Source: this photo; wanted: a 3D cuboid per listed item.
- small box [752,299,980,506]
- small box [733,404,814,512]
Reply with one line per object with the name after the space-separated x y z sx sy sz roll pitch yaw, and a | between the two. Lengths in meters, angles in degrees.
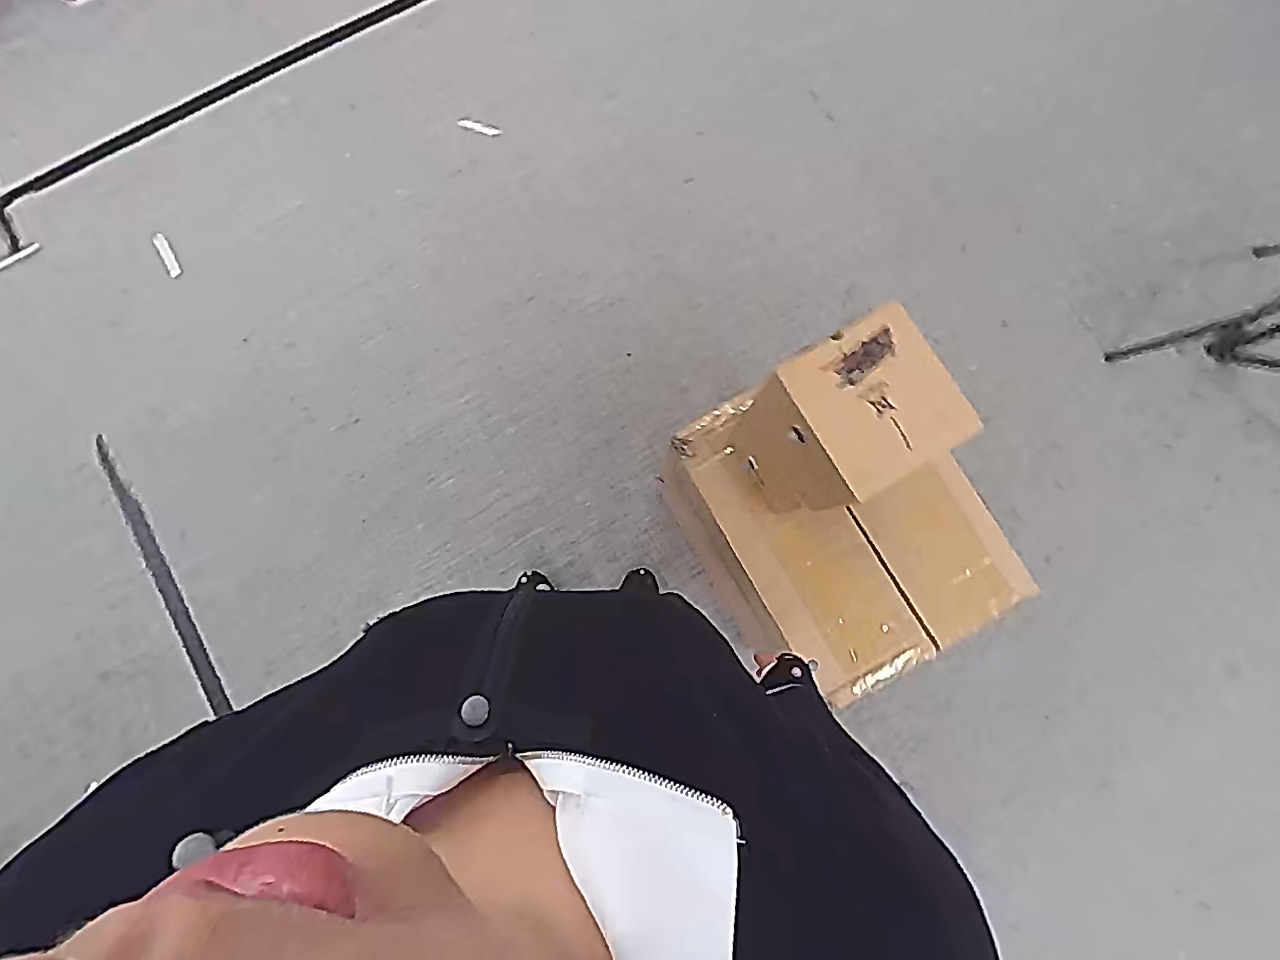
0.261 -0.082 0.674 0.168 0.176 0.179 -30 83 -3 | small box
0.264 -0.063 0.838 0.179 0.176 0.168 -30 83 -2 | small box
